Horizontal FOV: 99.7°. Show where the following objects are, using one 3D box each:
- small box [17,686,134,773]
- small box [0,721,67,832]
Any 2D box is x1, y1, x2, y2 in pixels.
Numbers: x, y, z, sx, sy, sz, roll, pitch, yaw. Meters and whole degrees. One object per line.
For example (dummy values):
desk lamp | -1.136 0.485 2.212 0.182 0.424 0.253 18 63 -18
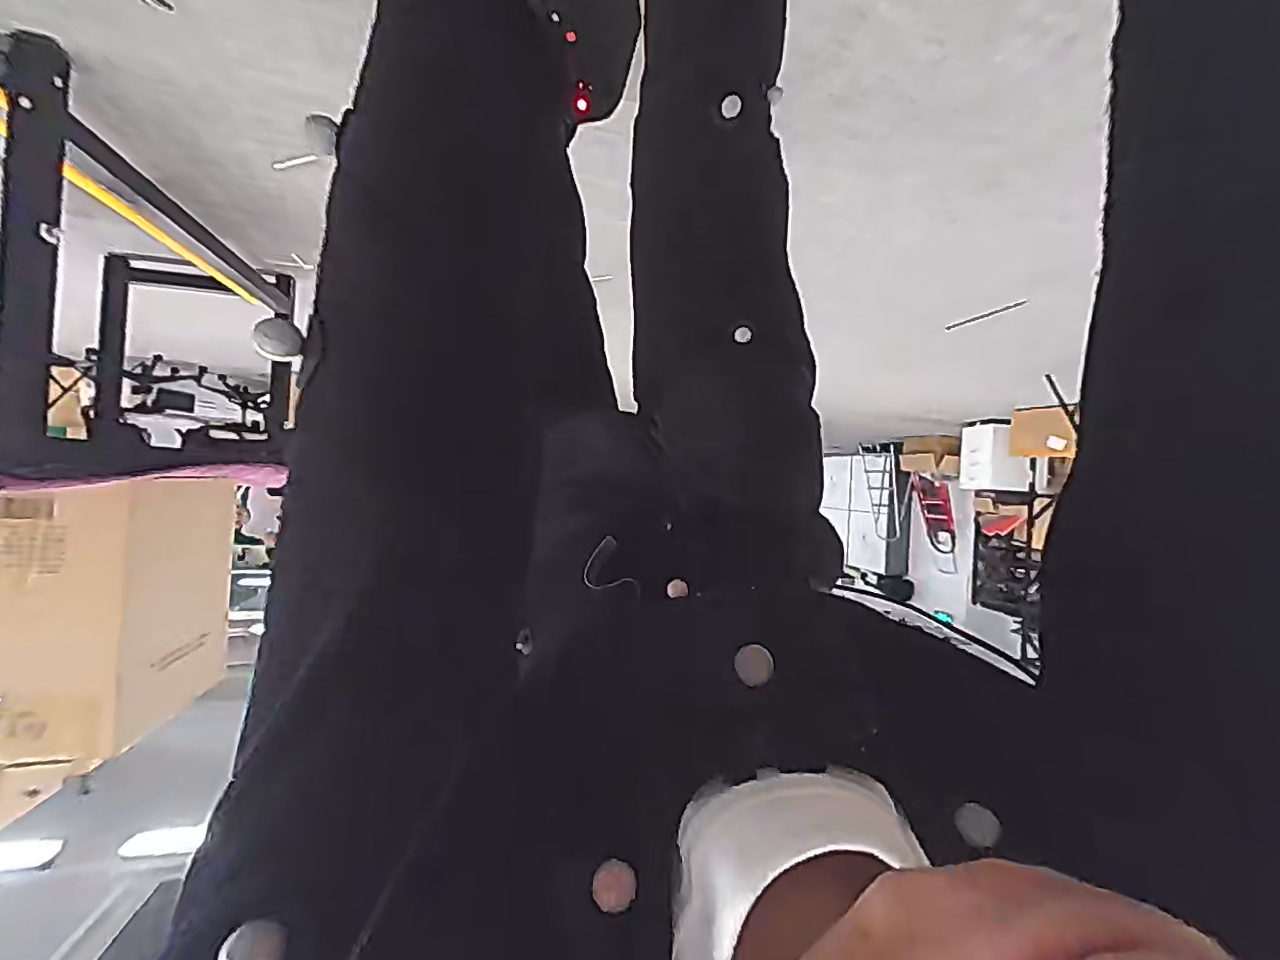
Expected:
small box | -1.520 0.671 1.464 0.168 0.176 0.179 1 178 -15
small box | -1.468 0.672 1.225 0.168 0.176 0.179 3 -178 -11
